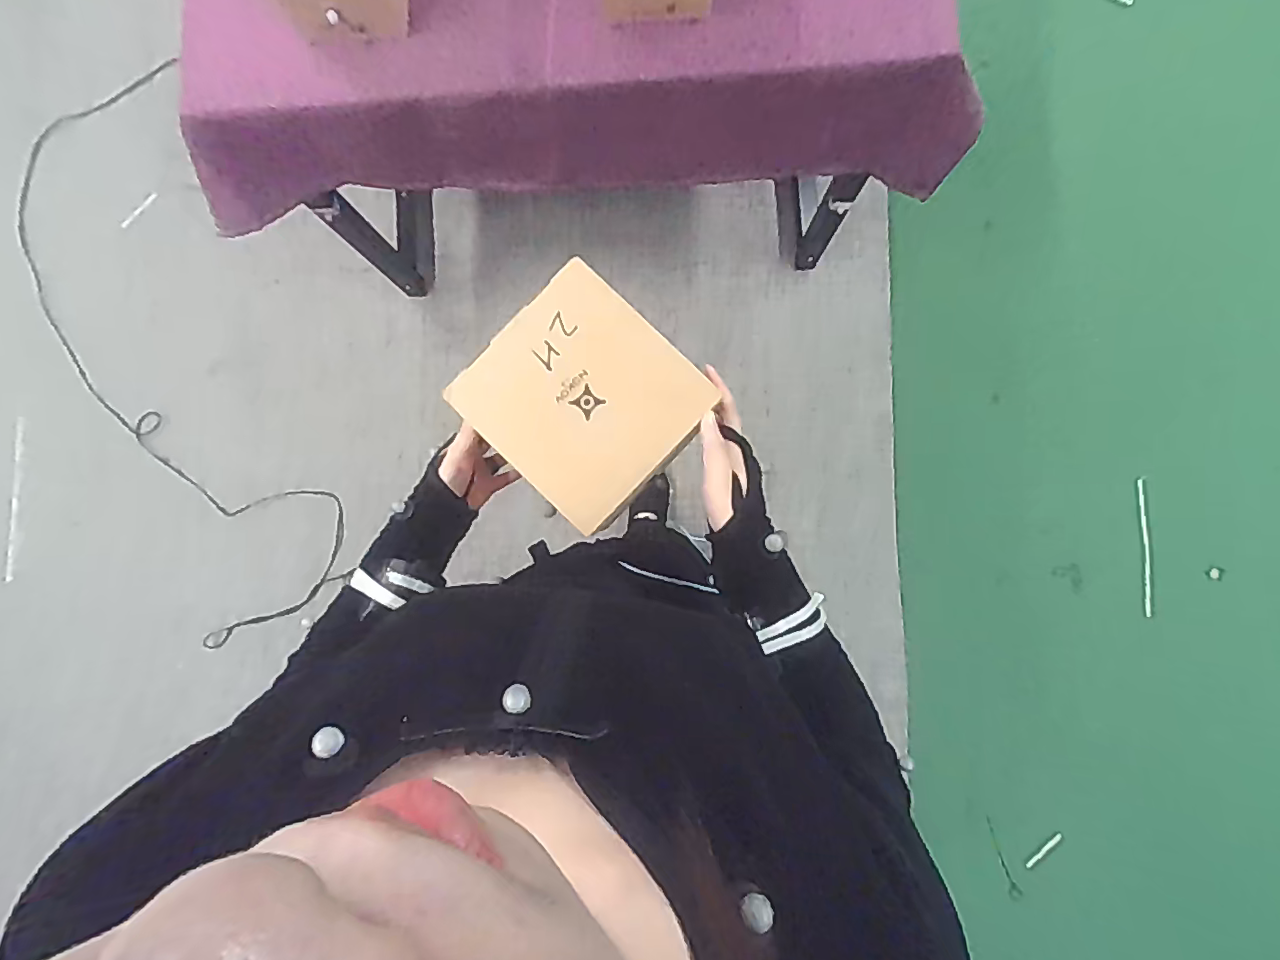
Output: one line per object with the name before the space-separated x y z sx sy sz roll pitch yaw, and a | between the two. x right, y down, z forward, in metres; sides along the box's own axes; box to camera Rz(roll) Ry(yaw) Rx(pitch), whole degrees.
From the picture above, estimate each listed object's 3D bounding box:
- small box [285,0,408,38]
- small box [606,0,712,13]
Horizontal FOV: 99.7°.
small box | -0.442 -0.780 0.765 0.168 0.176 0.179 0 87 2
small box | 0.025 -0.797 0.752 0.168 0.176 0.179 -2 87 1
